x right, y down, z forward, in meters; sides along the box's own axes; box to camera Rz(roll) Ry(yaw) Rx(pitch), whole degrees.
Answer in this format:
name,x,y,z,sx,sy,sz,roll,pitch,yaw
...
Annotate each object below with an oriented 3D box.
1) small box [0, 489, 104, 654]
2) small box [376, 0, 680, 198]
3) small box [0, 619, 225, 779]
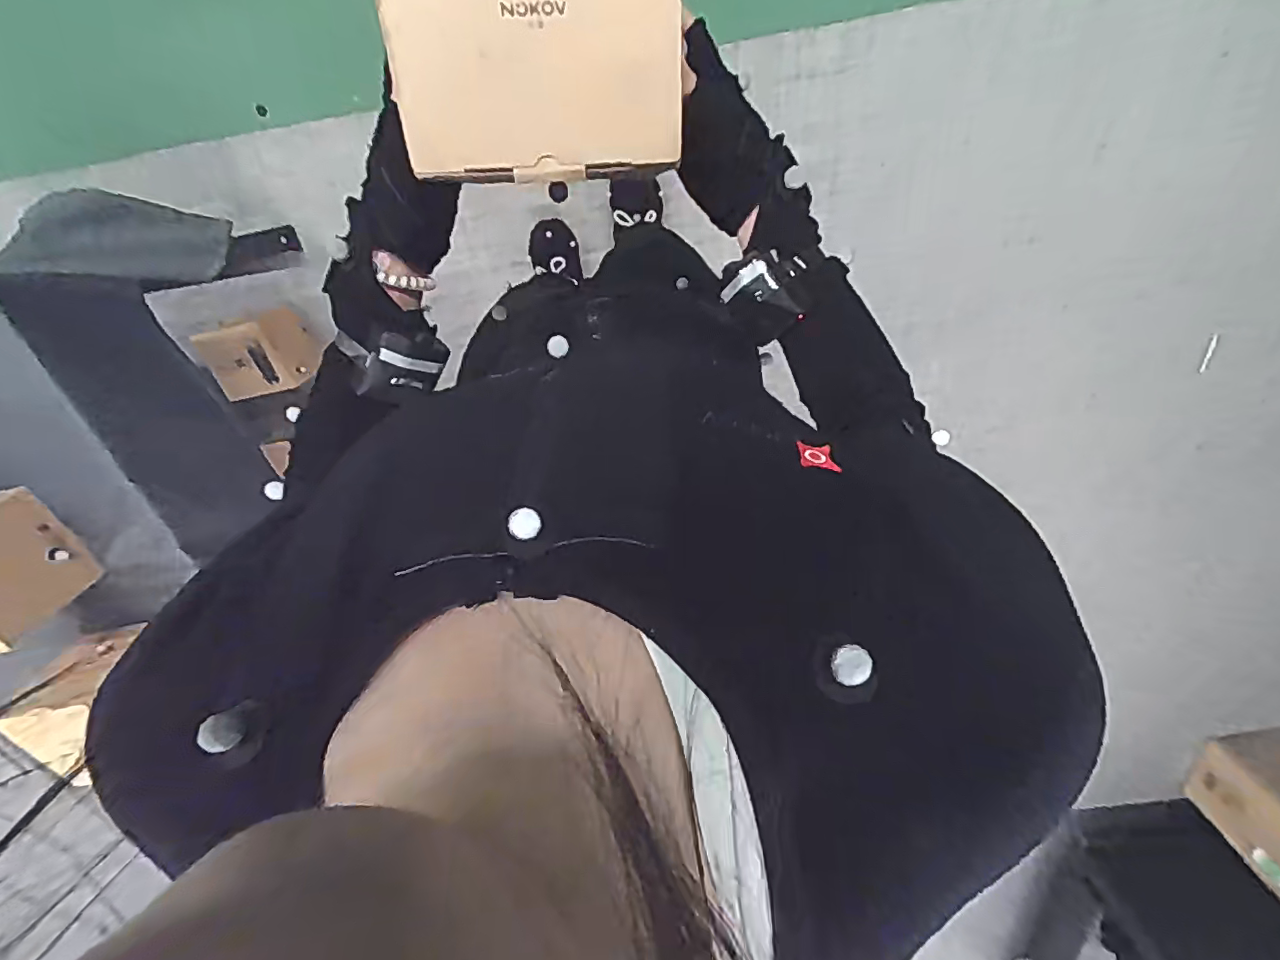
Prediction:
name,x,y,z,sx,sy,sz,roll,pitch,yaw
small box,-0.941,0.134,0.758,0.179,0.176,0.168,-11,122,4
small box,-0.064,-0.295,0.361,0.168,0.176,0.179,-5,120,-2
small box,-0.857,0.362,0.902,0.168,0.176,0.179,-12,121,6
